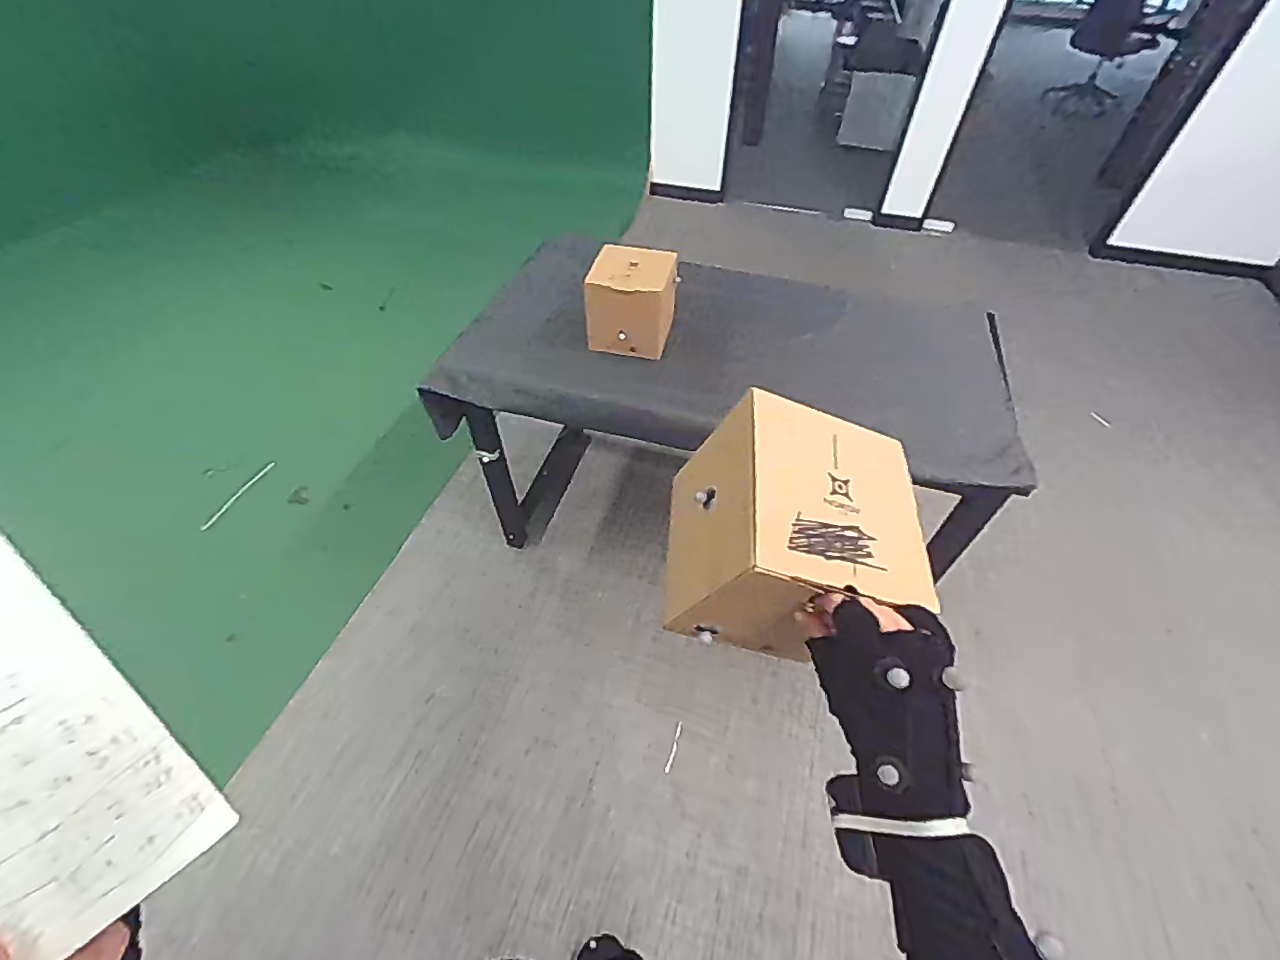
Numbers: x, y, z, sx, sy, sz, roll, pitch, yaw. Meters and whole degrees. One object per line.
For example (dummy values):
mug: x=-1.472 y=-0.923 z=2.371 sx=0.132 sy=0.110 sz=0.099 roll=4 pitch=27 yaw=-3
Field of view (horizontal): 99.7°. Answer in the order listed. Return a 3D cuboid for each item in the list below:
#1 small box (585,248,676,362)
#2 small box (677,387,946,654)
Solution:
small box: x=-0.019 y=-0.391 z=1.211 sx=0.168 sy=0.176 sz=0.179 roll=10 pitch=49 yaw=8
small box: x=0.145 y=0.050 z=0.513 sx=0.168 sy=0.176 sz=0.179 roll=18 pitch=54 yaw=-15
